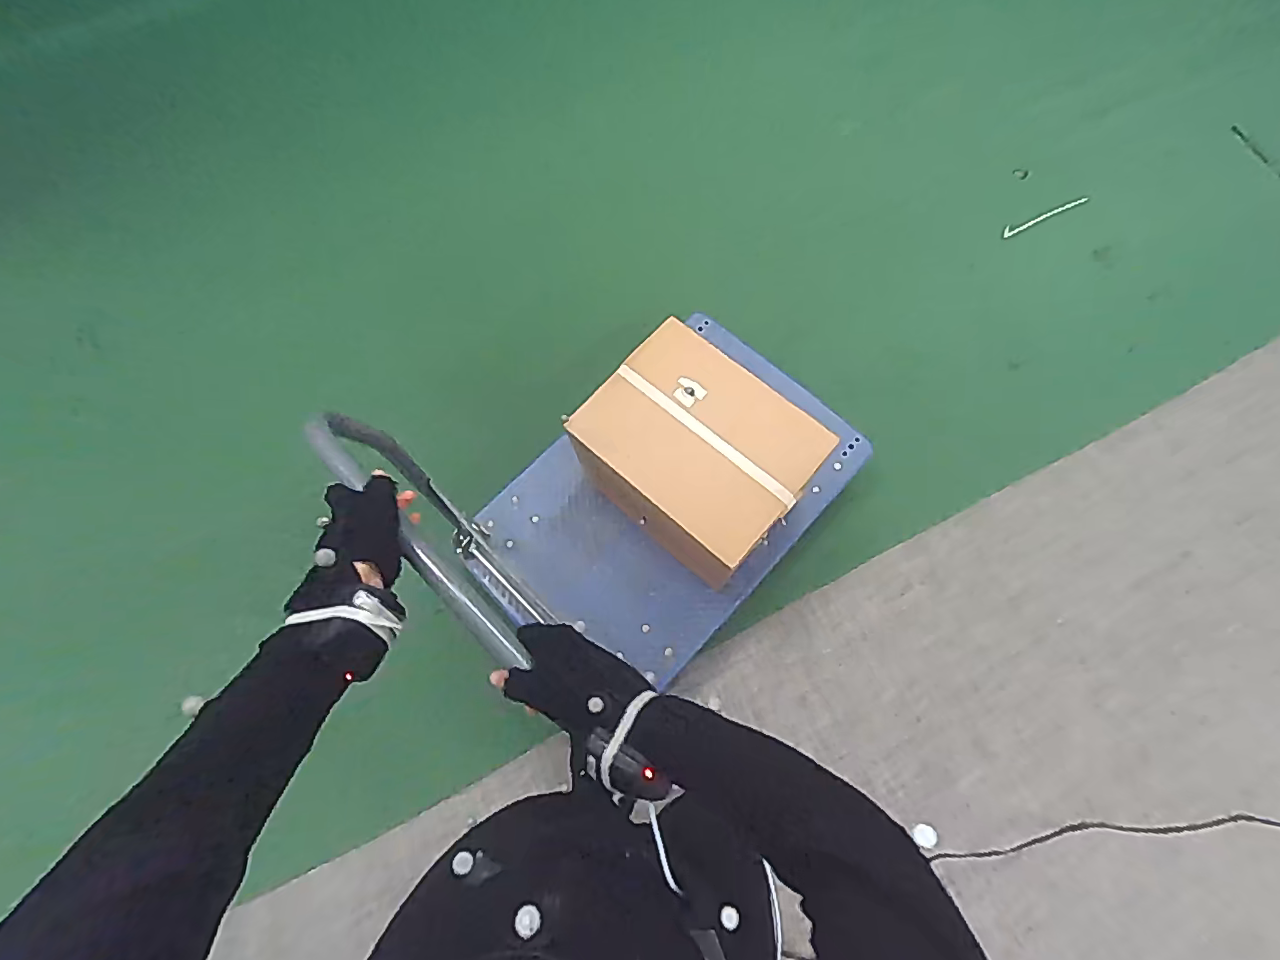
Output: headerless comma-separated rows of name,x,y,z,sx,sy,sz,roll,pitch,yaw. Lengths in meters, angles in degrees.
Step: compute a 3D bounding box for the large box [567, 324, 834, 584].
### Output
large box,0.118,-0.037,1.142,0.408,0.320,0.320,40,77,14
